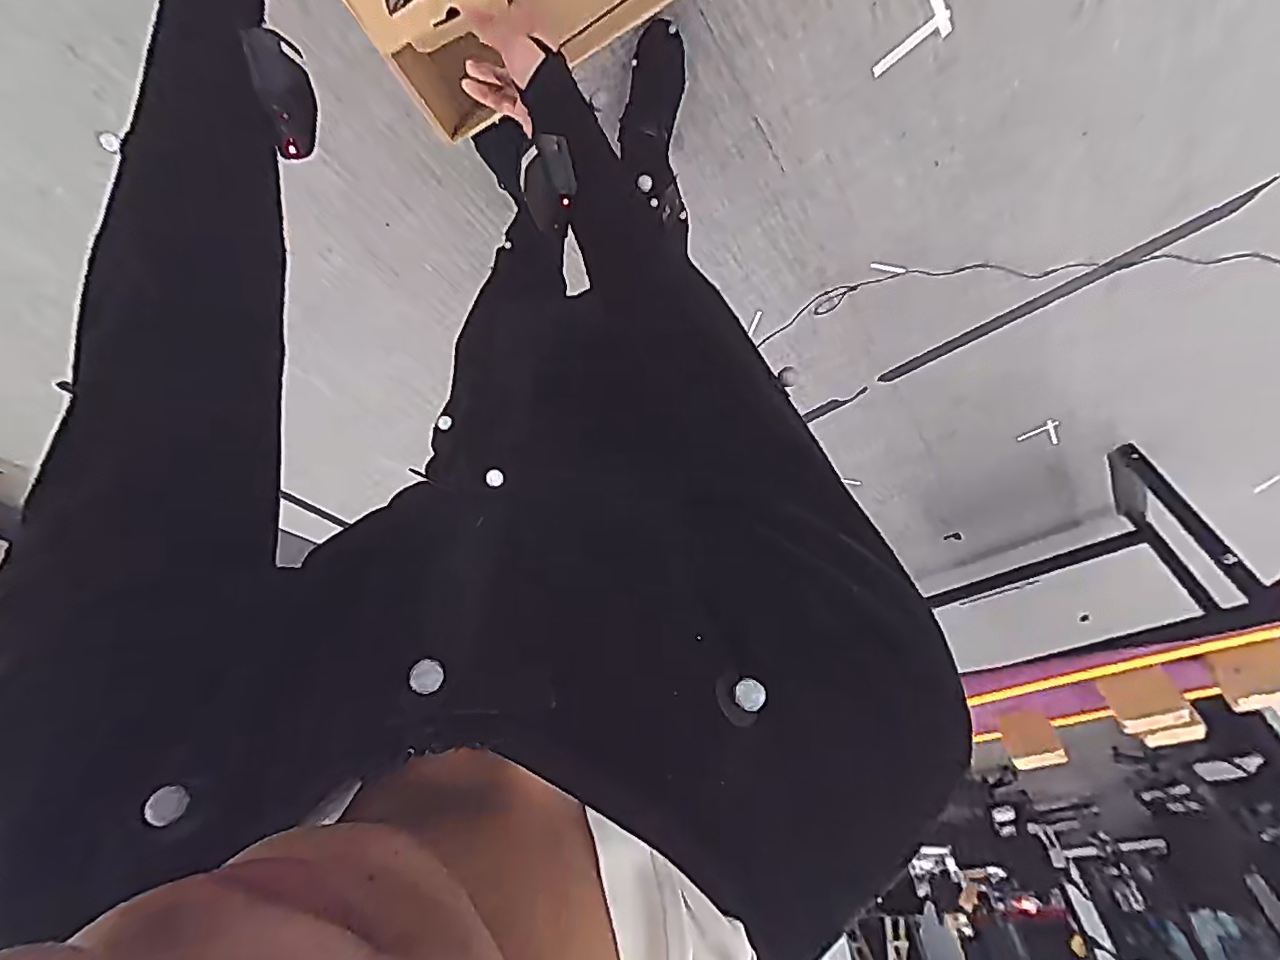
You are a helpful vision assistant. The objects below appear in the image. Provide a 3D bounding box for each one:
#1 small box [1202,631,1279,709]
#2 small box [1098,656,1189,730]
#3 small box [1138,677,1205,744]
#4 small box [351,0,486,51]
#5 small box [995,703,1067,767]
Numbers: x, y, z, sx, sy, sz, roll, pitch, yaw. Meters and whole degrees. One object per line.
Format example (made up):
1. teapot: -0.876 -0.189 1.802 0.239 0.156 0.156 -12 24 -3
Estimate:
1. small box: 1.910 0.592 1.680 0.179 0.176 0.168 -26 134 27
2. small box: 1.671 0.712 1.805 0.179 0.176 0.168 -28 133 26
3. small box: 1.872 0.828 1.946 0.168 0.176 0.179 -27 131 24
4. small box: -0.207 -0.551 0.503 0.168 0.176 0.179 -16 135 14
5. small box: 1.531 1.003 2.125 0.179 0.176 0.168 -28 132 24
